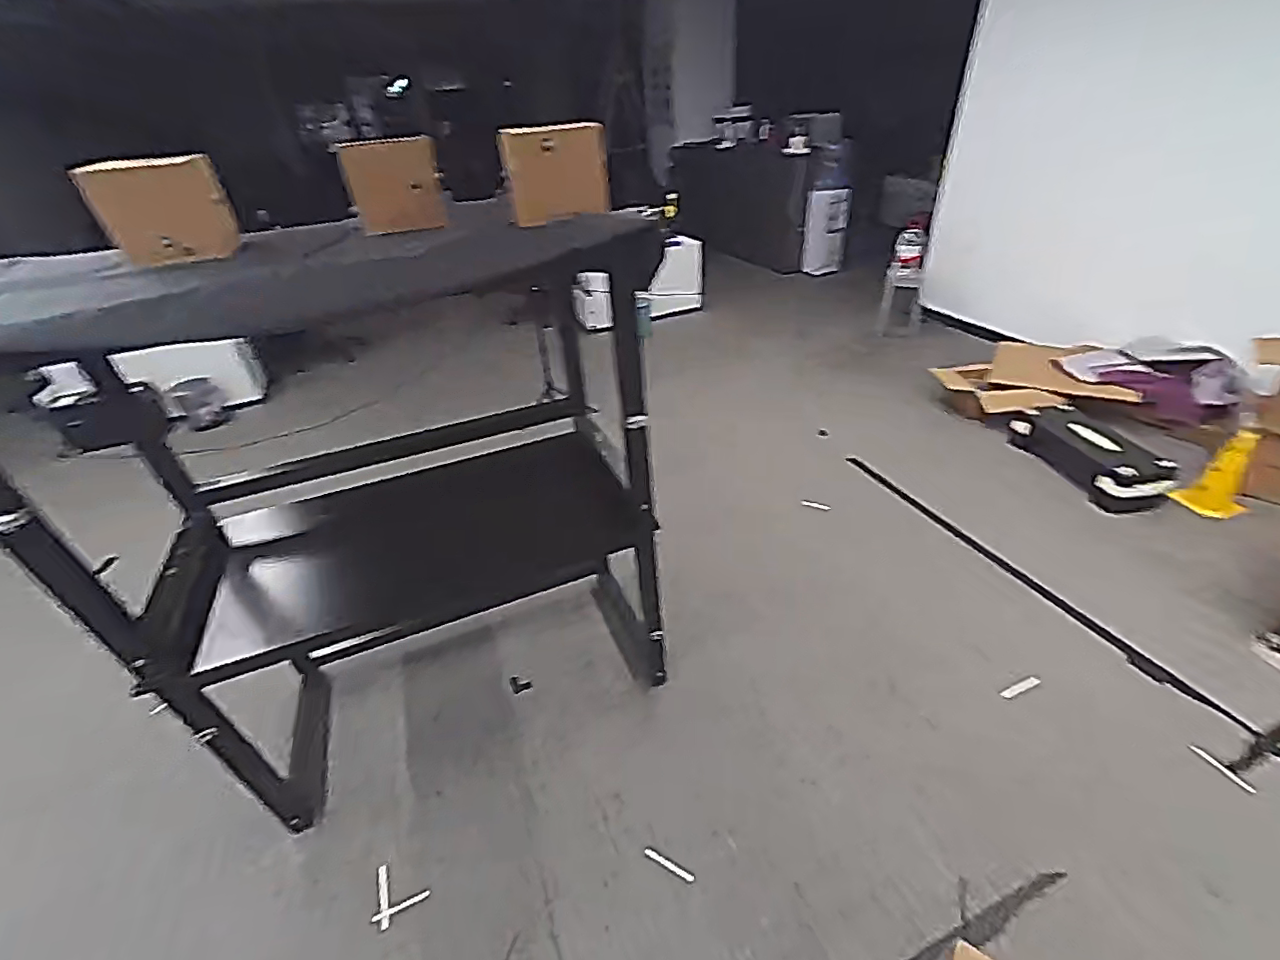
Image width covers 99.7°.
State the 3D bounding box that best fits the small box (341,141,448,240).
[{"bbox_3d":[-0.529,-0.638,1.188,0.179,0.176,0.168,-15,36,-14],"label":"small box"}]

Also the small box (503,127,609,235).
[{"bbox_3d":[-0.167,-0.597,1.081,0.168,0.176,0.179,-15,35,-12],"label":"small box"}]
